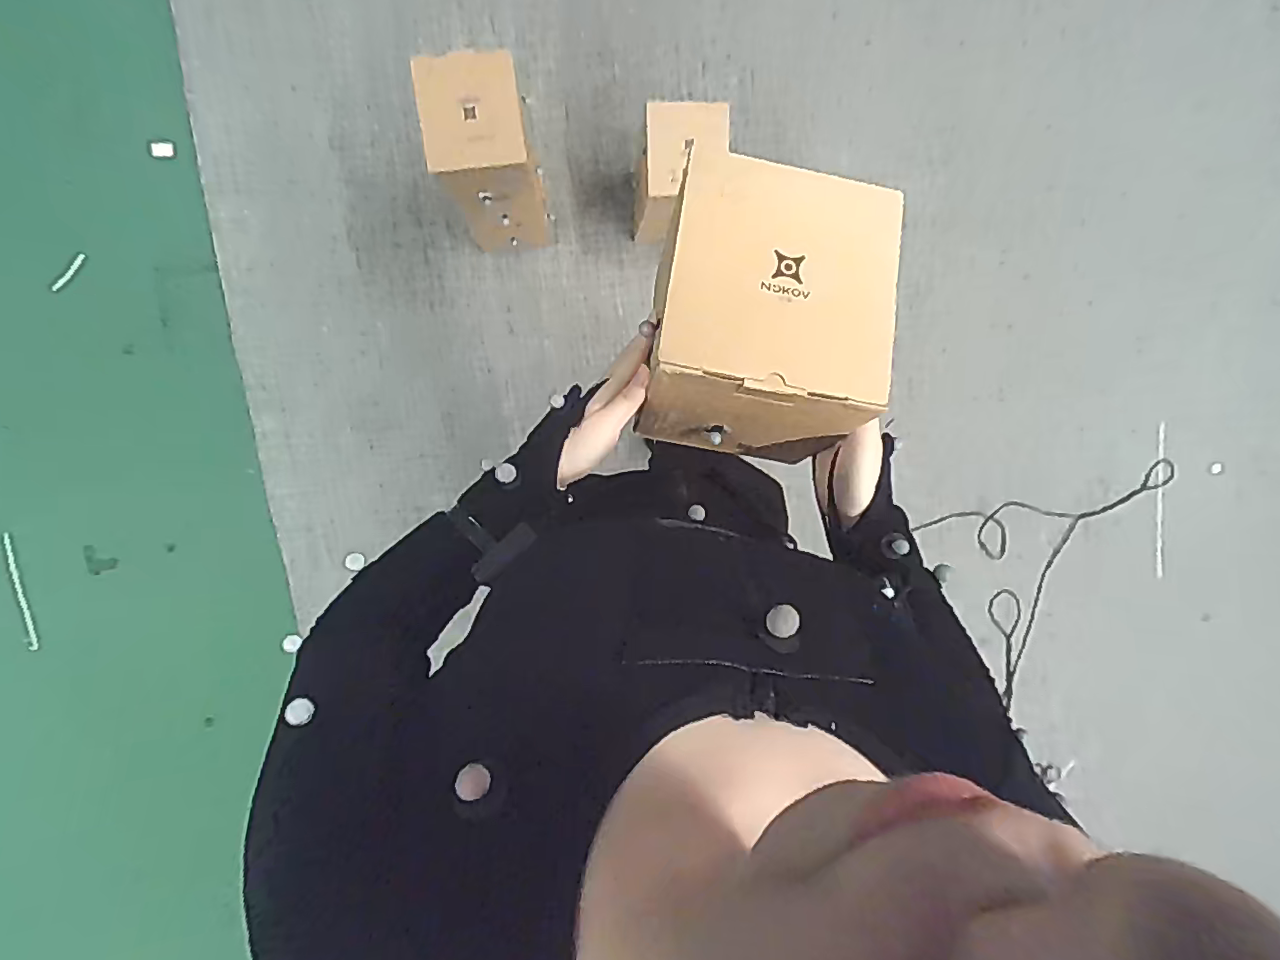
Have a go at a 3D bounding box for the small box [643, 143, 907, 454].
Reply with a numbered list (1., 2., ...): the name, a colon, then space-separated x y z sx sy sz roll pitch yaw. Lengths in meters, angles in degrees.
1. small box: 0.100 -0.134 0.461 0.168 0.176 0.179 9 79 -5

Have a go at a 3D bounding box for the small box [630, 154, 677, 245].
1. small box: 0.064 -0.682 1.305 0.168 0.176 0.179 -1 99 -5

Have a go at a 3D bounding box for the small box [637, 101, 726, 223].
1. small box: 0.081 -0.662 1.142 0.168 0.176 0.179 -2 99 -4

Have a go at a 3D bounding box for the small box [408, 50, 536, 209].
1. small box: -0.285 -0.605 0.953 0.168 0.176 0.179 -8 99 -2

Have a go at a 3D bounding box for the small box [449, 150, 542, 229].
1. small box: -0.302 -0.632 1.113 0.168 0.176 0.179 -9 99 -3
